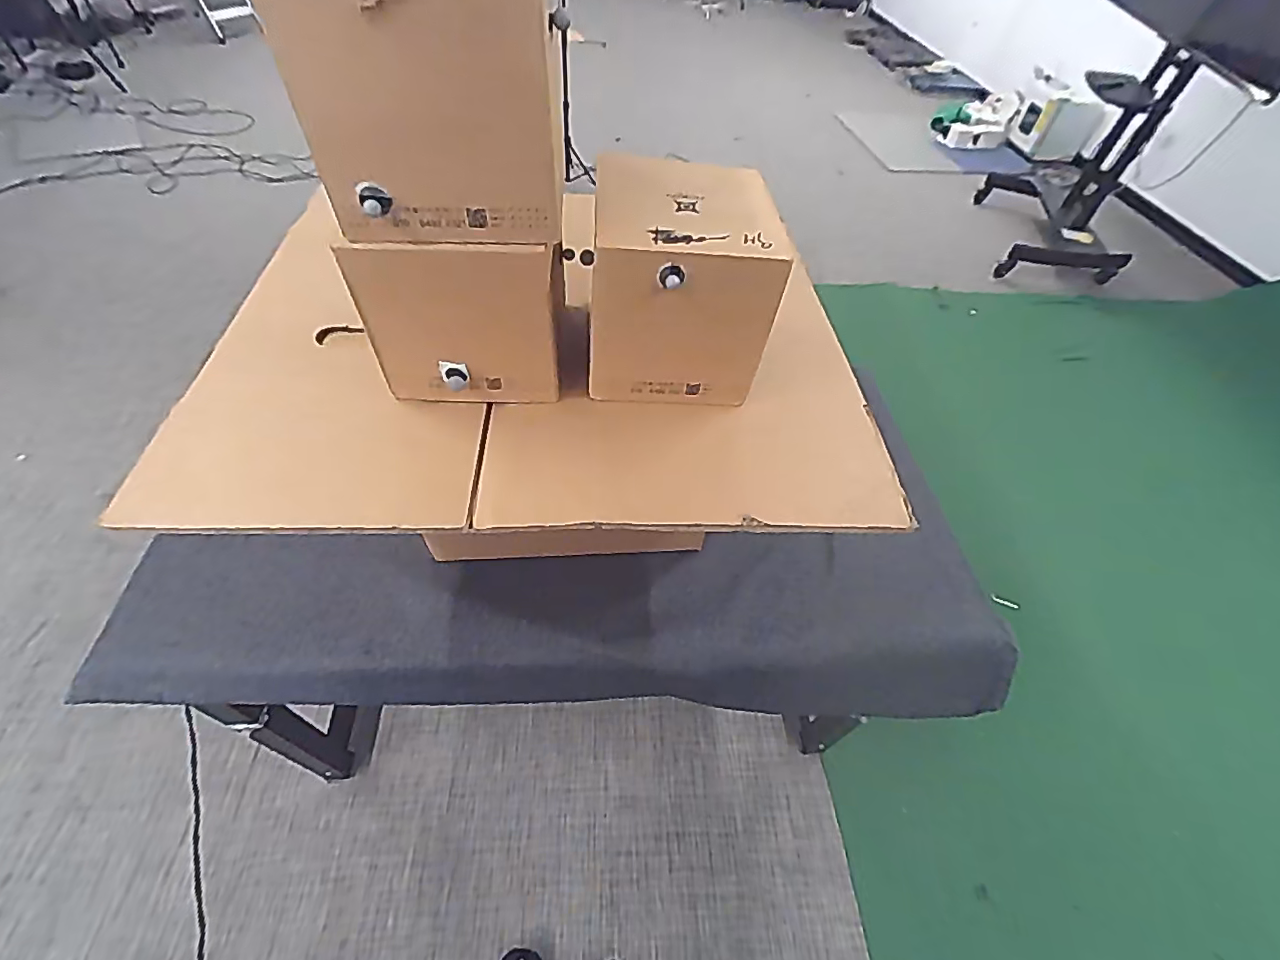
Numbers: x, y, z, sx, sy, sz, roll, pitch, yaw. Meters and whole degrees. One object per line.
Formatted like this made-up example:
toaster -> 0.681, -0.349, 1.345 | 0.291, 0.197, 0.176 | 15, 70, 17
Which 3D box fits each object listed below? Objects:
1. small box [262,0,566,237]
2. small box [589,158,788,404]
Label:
small box -> -0.147, -0.309, 0.422 | 0.168, 0.176, 0.179 | 0, 51, -4
small box -> 0.034, -0.203, 0.561 | 0.168, 0.176, 0.179 | 2, 51, -6
